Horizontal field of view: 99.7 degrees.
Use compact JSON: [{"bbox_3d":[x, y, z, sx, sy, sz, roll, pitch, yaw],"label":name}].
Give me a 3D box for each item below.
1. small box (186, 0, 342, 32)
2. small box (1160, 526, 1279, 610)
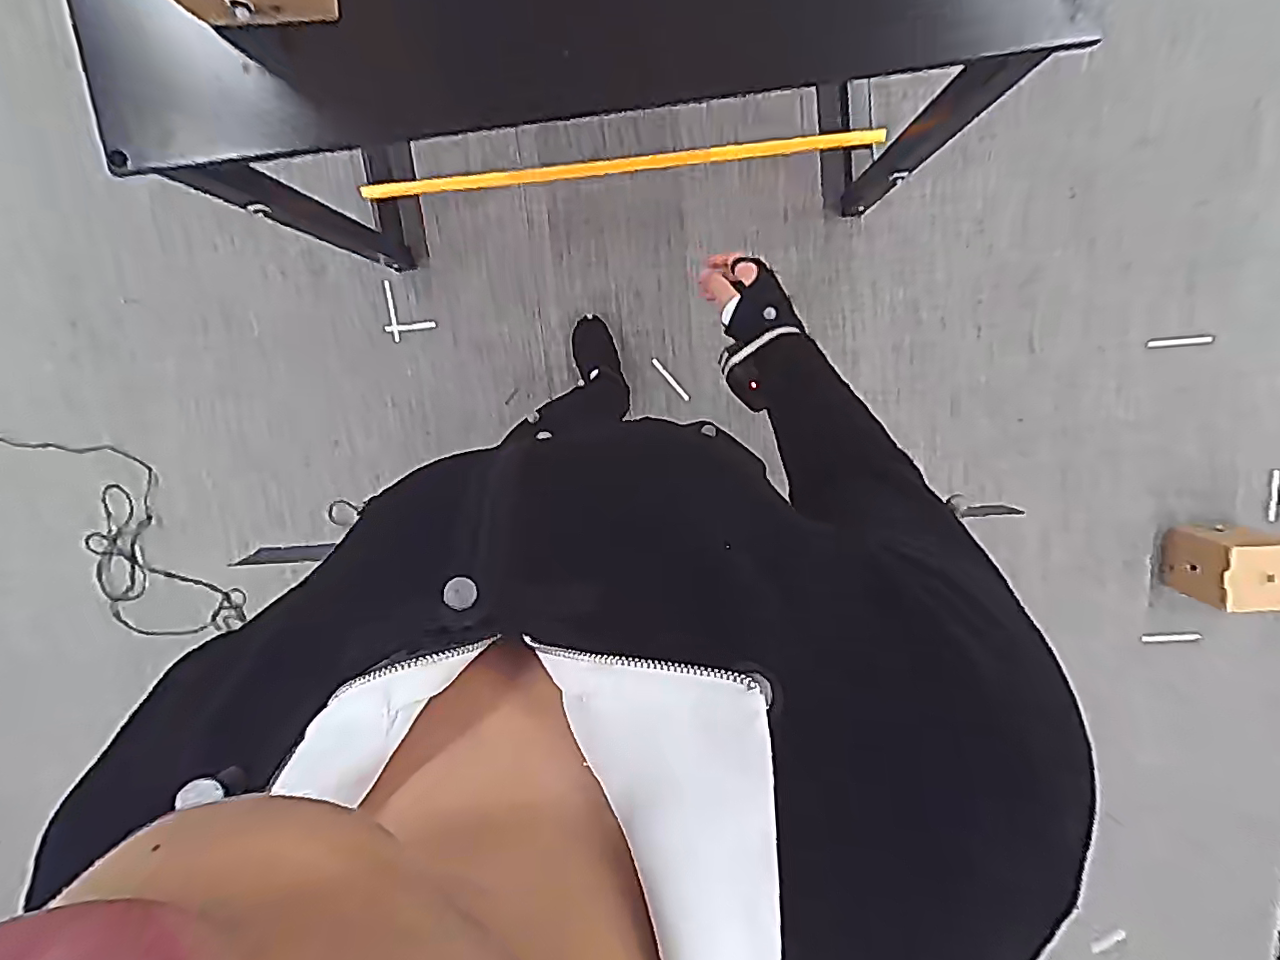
[{"bbox_3d":[-0.440,-0.614,0.555,0.168,0.176,0.179,-2,101,4],"label":"small box"},{"bbox_3d":[1.484,0.219,1.371,0.179,0.176,0.168,-3,101,4],"label":"small box"}]
